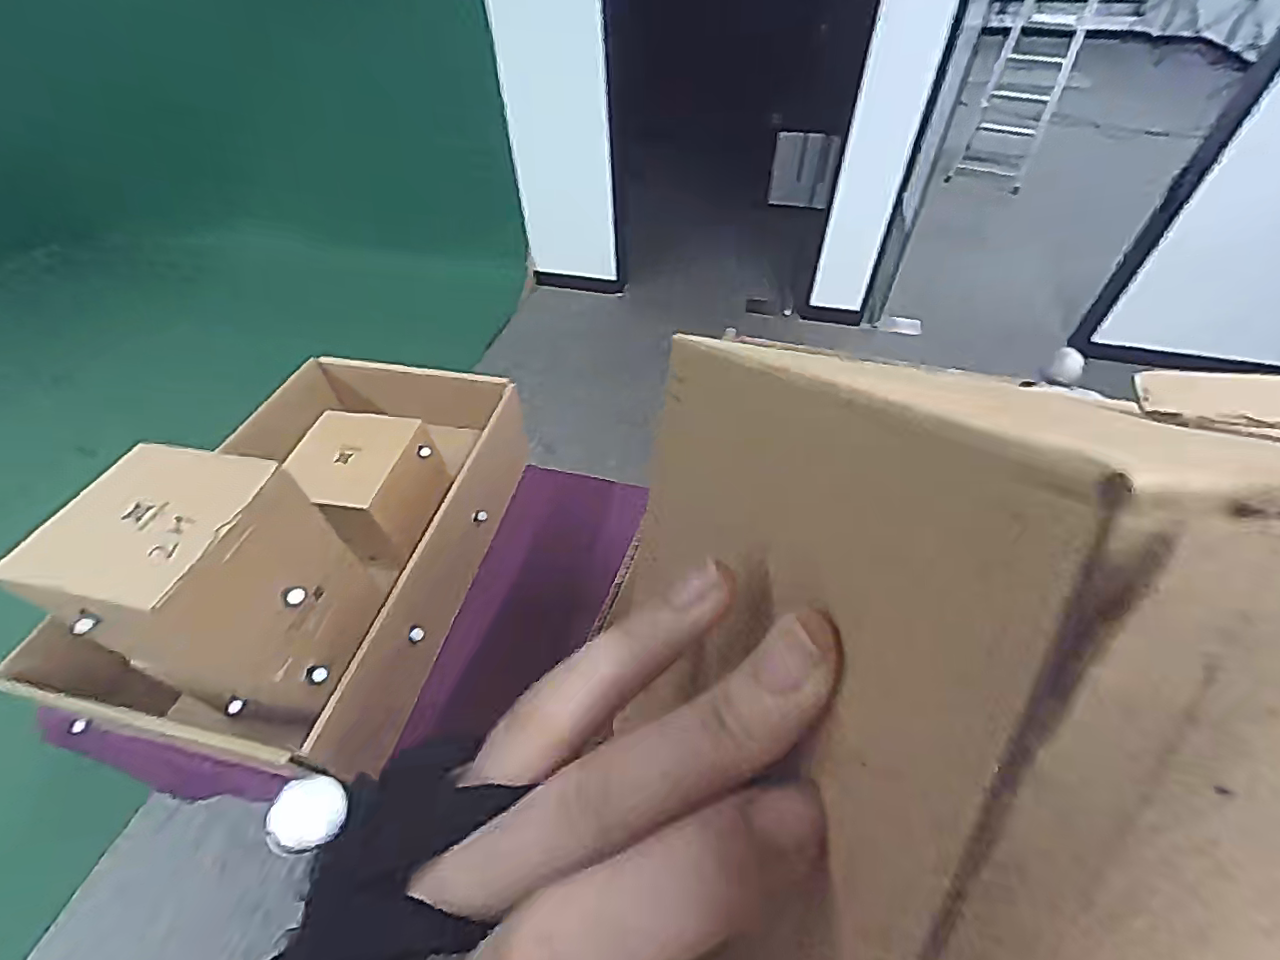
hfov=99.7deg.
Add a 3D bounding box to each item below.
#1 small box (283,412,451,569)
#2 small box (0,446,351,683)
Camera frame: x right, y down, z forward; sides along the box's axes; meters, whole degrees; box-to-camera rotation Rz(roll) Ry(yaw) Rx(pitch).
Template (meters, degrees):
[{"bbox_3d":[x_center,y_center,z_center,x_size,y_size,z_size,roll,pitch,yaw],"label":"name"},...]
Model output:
[{"bbox_3d":[-0.418,0.019,0.841,0.168,0.176,0.179,6,50,9],"label":"small box"},{"bbox_3d":[-0.449,0.089,0.559,0.179,0.176,0.168,9,50,10],"label":"small box"}]
